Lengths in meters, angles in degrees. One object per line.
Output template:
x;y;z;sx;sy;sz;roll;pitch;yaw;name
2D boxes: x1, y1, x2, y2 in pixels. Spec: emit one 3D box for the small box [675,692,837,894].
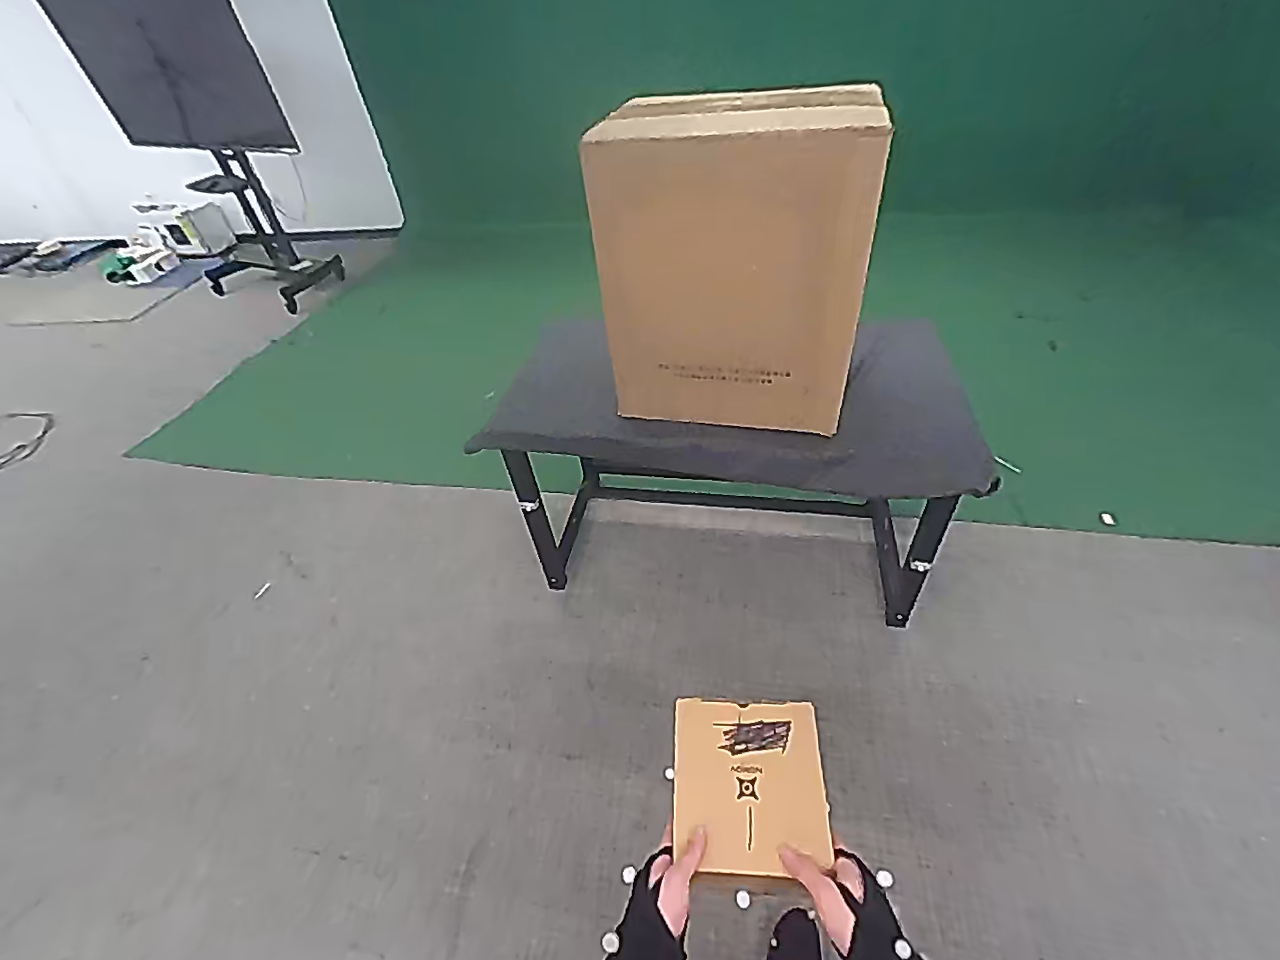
0.130;0.382;0.662;0.168;0.176;0.179;-1;48;7;small box
